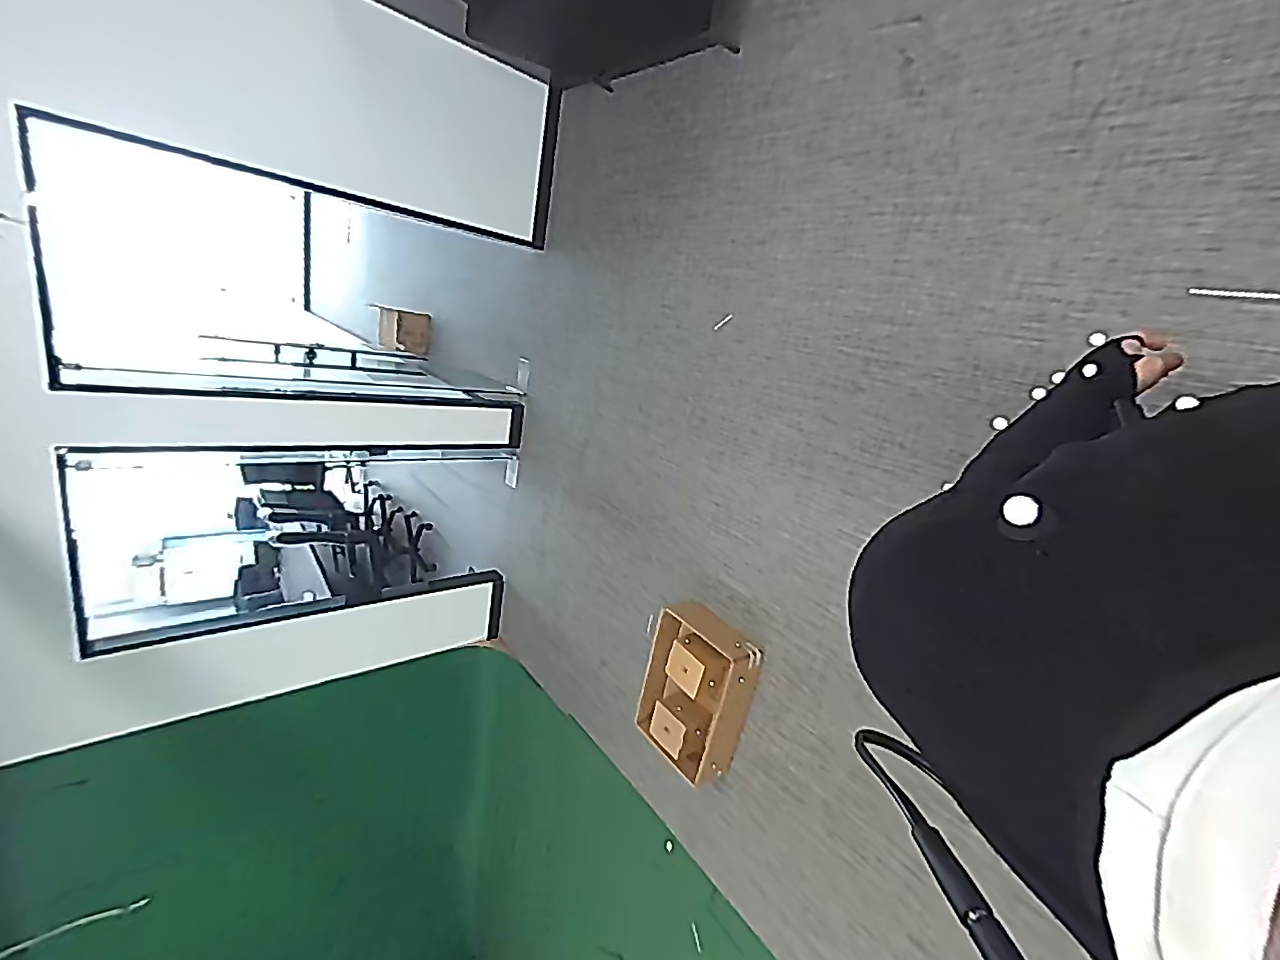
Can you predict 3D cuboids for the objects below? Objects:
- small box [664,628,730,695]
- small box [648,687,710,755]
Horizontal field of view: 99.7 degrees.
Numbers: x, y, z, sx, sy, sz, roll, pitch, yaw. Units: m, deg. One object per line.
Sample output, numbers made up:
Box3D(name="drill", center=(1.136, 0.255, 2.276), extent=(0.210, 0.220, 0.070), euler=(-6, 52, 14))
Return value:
Box3D(name="small box", center=(0.230, 0.715, 2.159), extent=(0.179, 0.176, 0.168), euler=(34, 118, 43))
Box3D(name="small box", center=(0.164, 0.994, 2.251), extent=(0.179, 0.176, 0.168), euler=(29, 113, 45))
